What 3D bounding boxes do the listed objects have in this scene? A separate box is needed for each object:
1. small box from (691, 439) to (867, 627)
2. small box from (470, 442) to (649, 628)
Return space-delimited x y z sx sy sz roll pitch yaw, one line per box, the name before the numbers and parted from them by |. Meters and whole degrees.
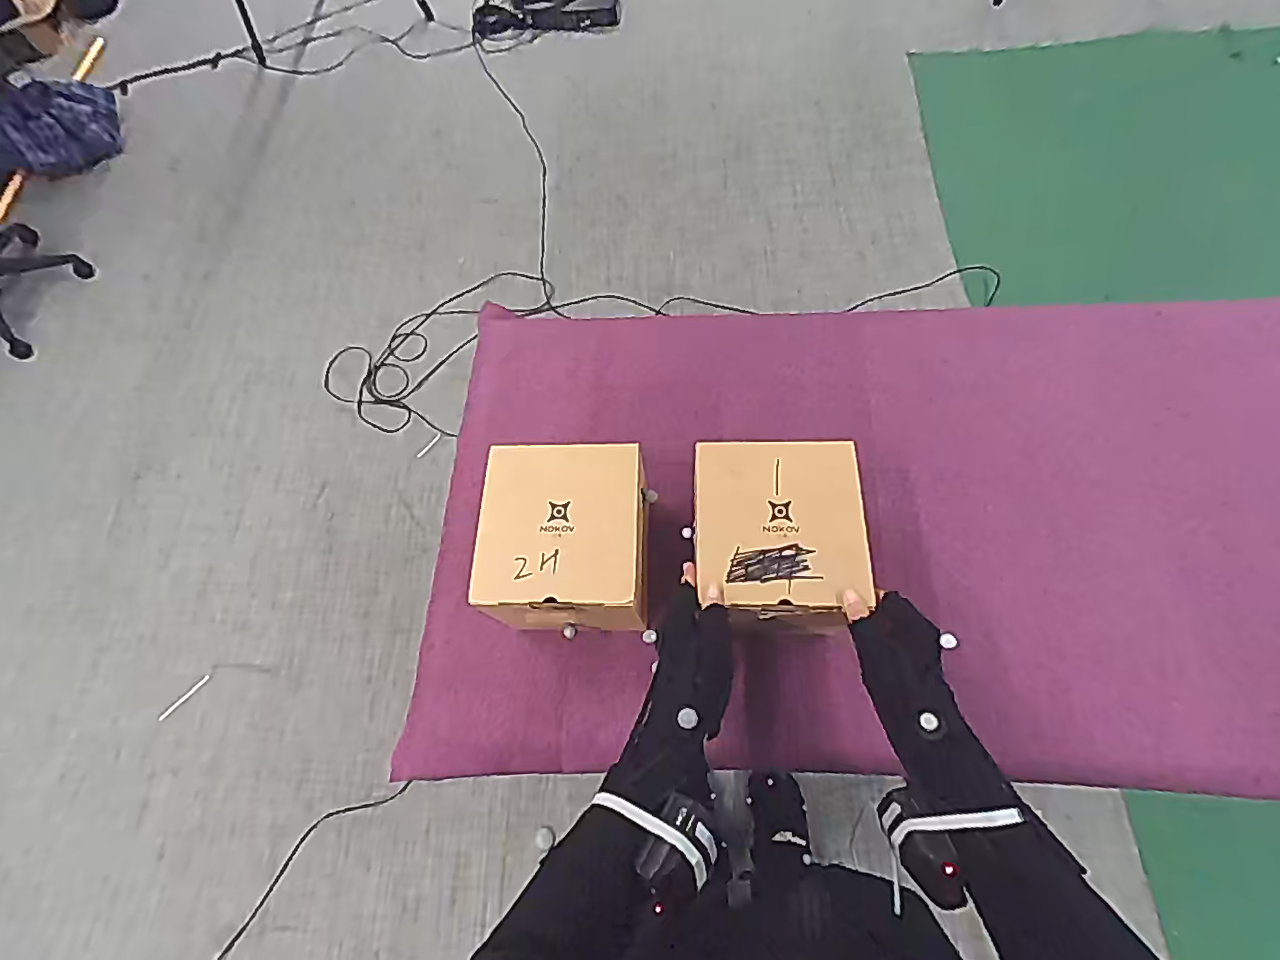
small box | 0.143 0.068 0.615 0.168 0.176 0.179 0 66 5
small box | -0.079 0.070 0.633 0.168 0.176 0.179 -1 67 5
